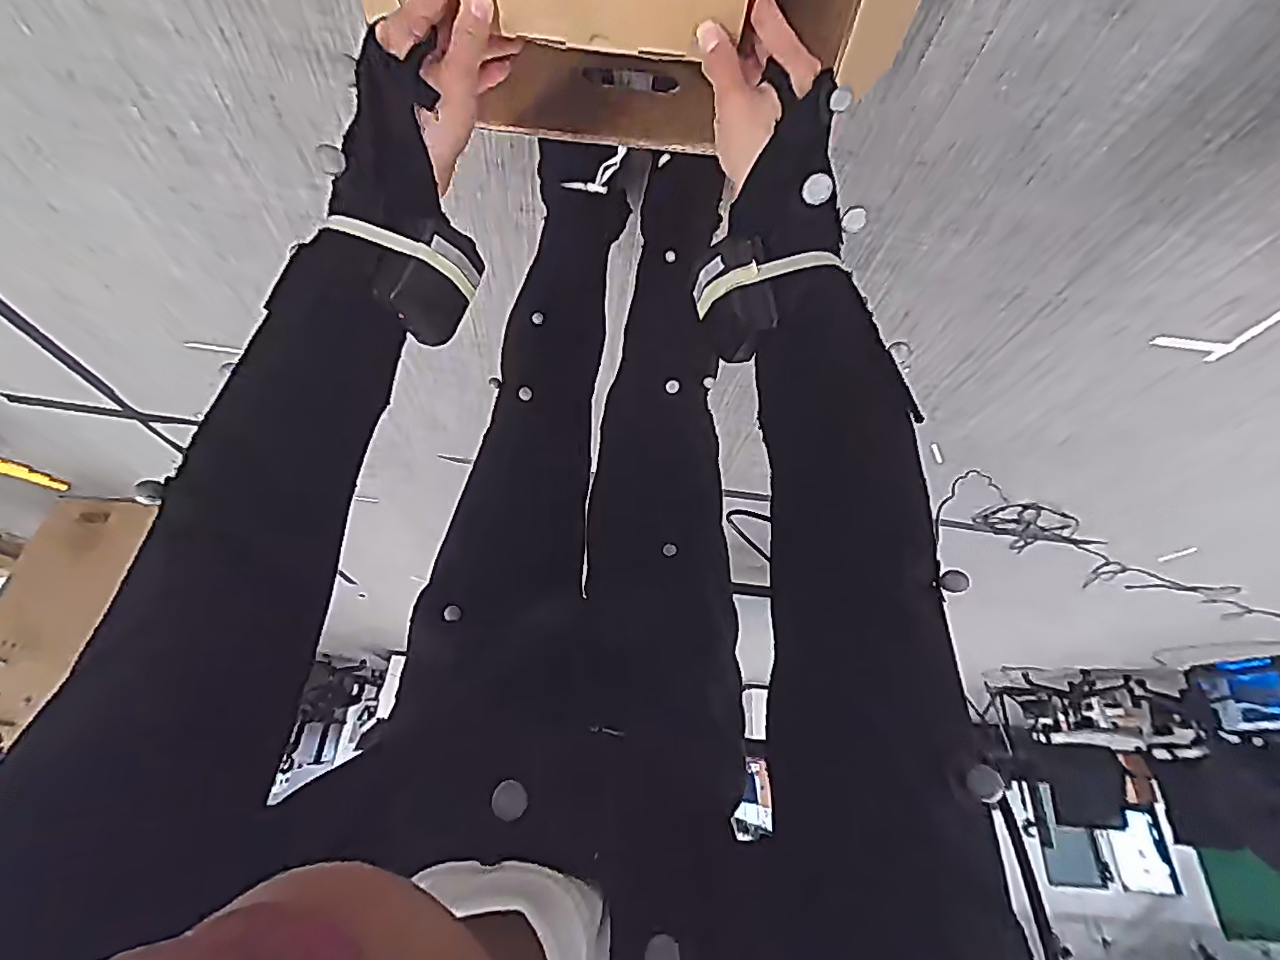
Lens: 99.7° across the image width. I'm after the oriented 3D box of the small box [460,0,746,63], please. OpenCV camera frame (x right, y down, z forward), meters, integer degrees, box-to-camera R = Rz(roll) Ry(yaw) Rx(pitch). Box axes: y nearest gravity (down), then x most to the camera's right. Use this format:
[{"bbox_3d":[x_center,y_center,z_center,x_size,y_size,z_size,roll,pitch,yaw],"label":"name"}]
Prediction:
[{"bbox_3d":[-0.012,-0.373,0.289,0.168,0.176,0.179,5,152,-3],"label":"small box"}]
